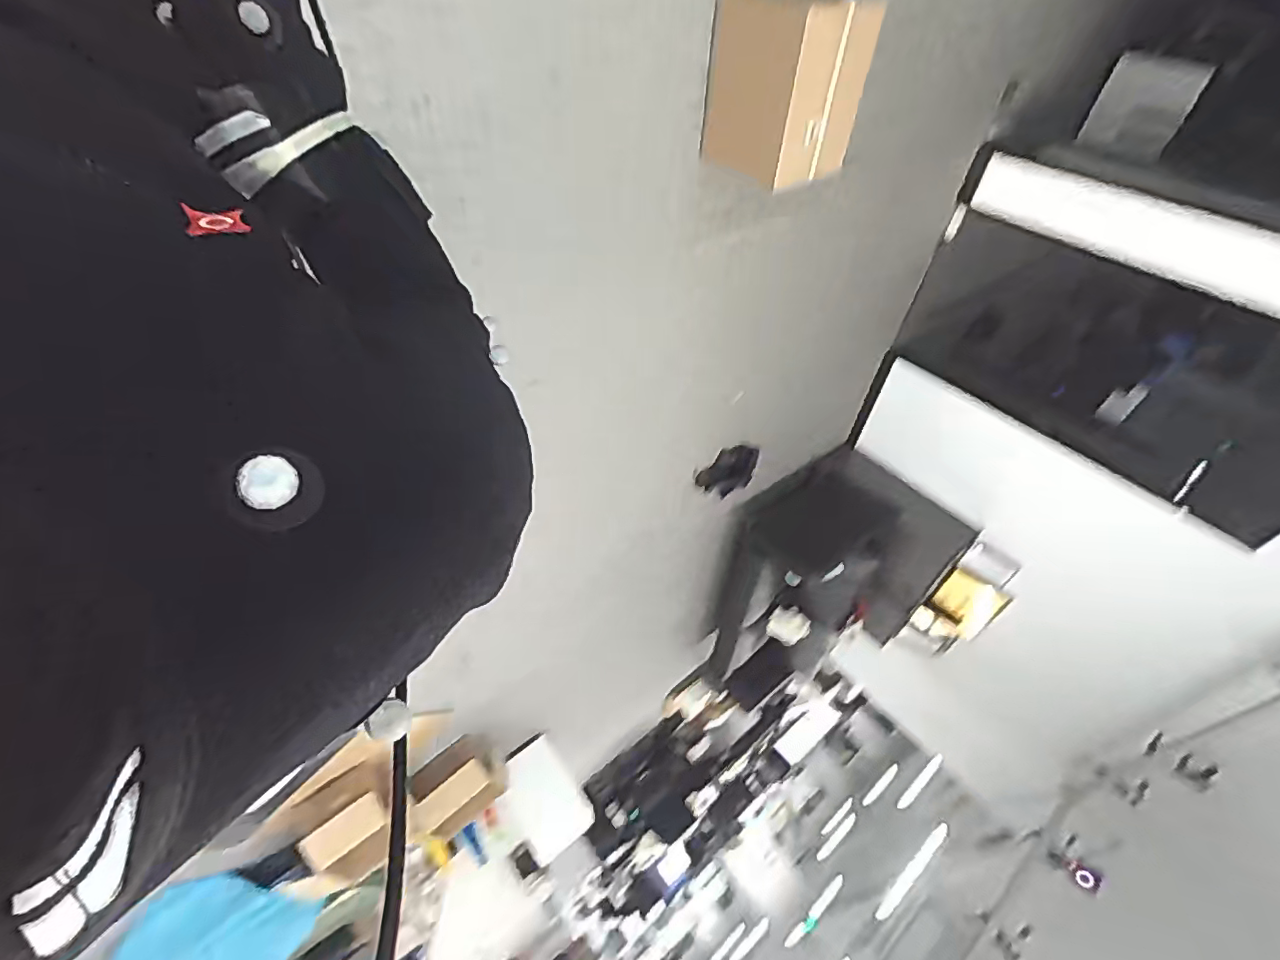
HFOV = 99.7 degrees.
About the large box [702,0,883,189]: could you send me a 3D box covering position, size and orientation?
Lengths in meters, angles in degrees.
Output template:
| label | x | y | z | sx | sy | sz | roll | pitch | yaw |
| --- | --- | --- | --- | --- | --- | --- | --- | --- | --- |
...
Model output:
| label | x | y | z | sx | sy | sz | roll | pitch | yaw |
| --- | --- | --- | --- | --- | --- | --- | --- | --- | --- |
| large box | 0.401 | -1.112 | 1.521 | 0.320 | 0.320 | 0.408 | -29 | 146 | -25 |
